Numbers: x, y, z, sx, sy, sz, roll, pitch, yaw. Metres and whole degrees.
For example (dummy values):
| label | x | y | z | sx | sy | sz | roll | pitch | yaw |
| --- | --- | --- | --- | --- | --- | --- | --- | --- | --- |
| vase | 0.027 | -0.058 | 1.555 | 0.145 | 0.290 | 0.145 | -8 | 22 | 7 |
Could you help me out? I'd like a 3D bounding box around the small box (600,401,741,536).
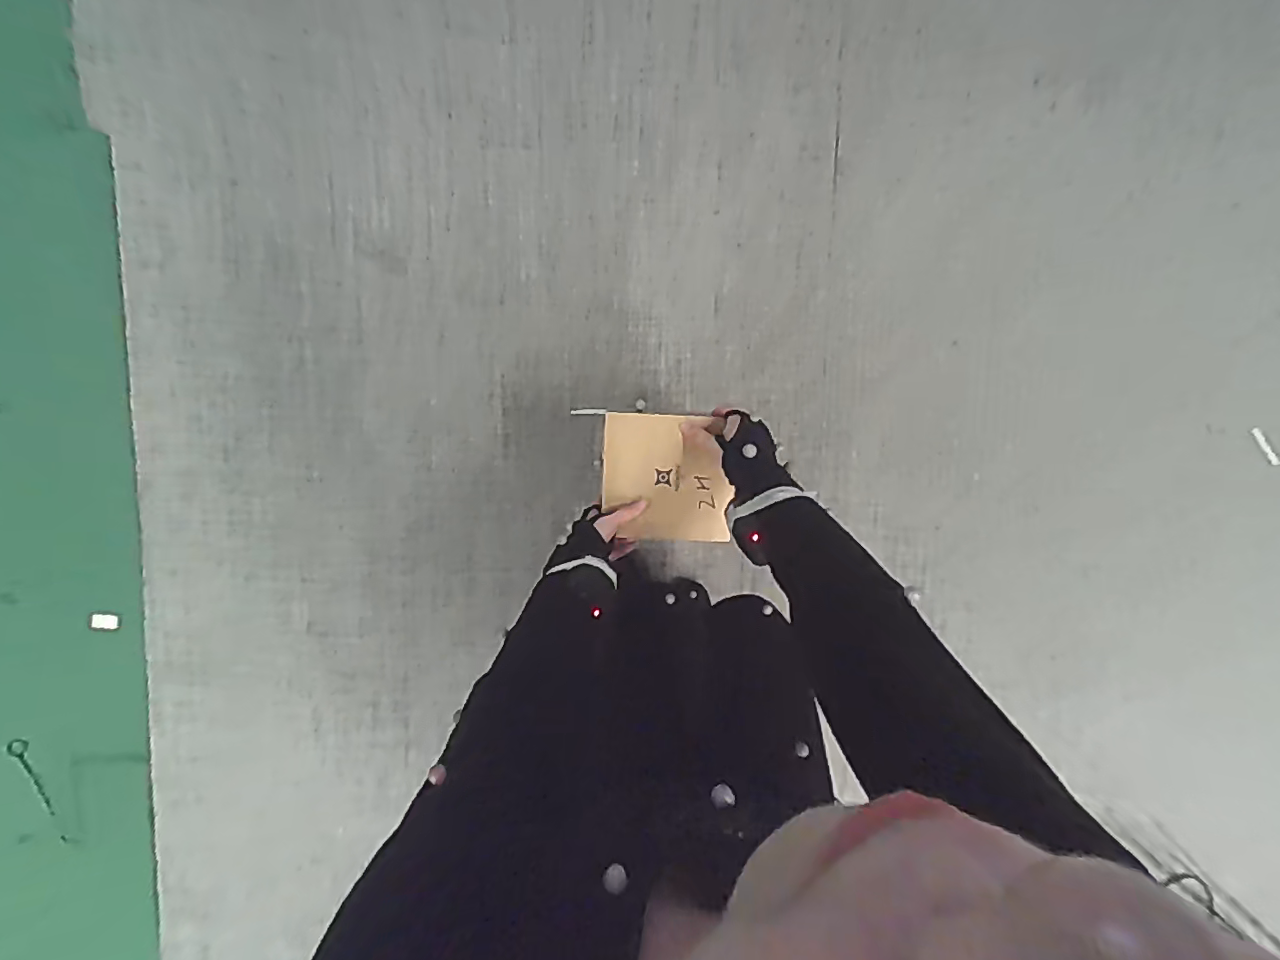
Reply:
| label | x | y | z | sx | sy | sz | roll | pitch | yaw |
| --- | --- | --- | --- | --- | --- | --- | --- | --- | --- |
| small box | 0.037 | -0.025 | 0.778 | 0.179 | 0.176 | 0.168 | 2 | 101 | -2 |
